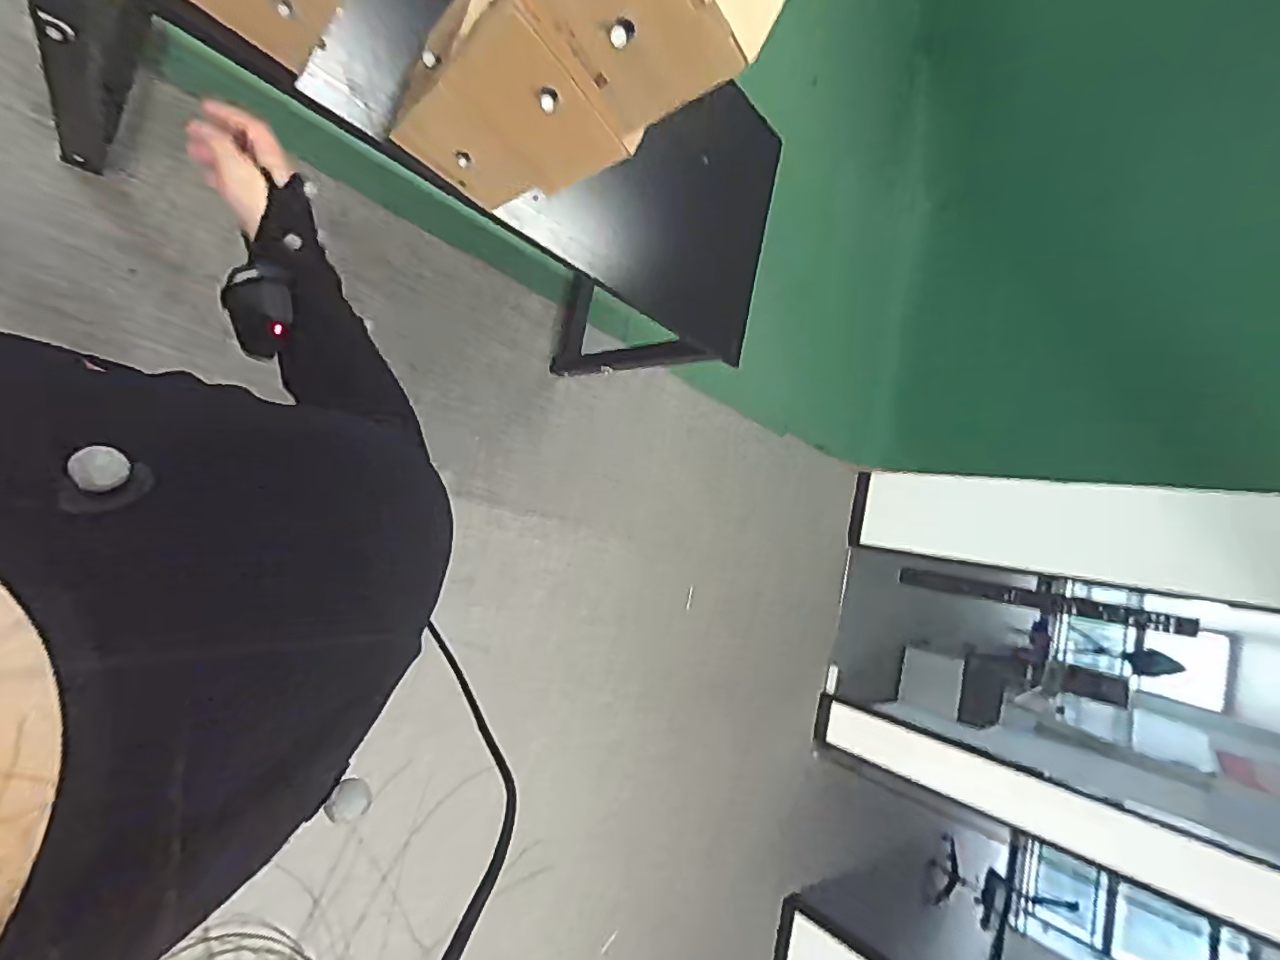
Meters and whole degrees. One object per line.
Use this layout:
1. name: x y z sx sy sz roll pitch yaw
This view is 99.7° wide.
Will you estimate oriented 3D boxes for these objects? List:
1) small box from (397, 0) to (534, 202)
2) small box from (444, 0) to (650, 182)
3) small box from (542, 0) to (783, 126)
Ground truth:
1. small box: -0.205 -0.518 0.734 0.168 0.176 0.179 24 78 -44
2. small box: -0.088 -0.480 0.625 0.179 0.176 0.168 34 72 -40
3. small box: 0.024 -0.482 0.505 0.168 0.176 0.179 38 70 -39
